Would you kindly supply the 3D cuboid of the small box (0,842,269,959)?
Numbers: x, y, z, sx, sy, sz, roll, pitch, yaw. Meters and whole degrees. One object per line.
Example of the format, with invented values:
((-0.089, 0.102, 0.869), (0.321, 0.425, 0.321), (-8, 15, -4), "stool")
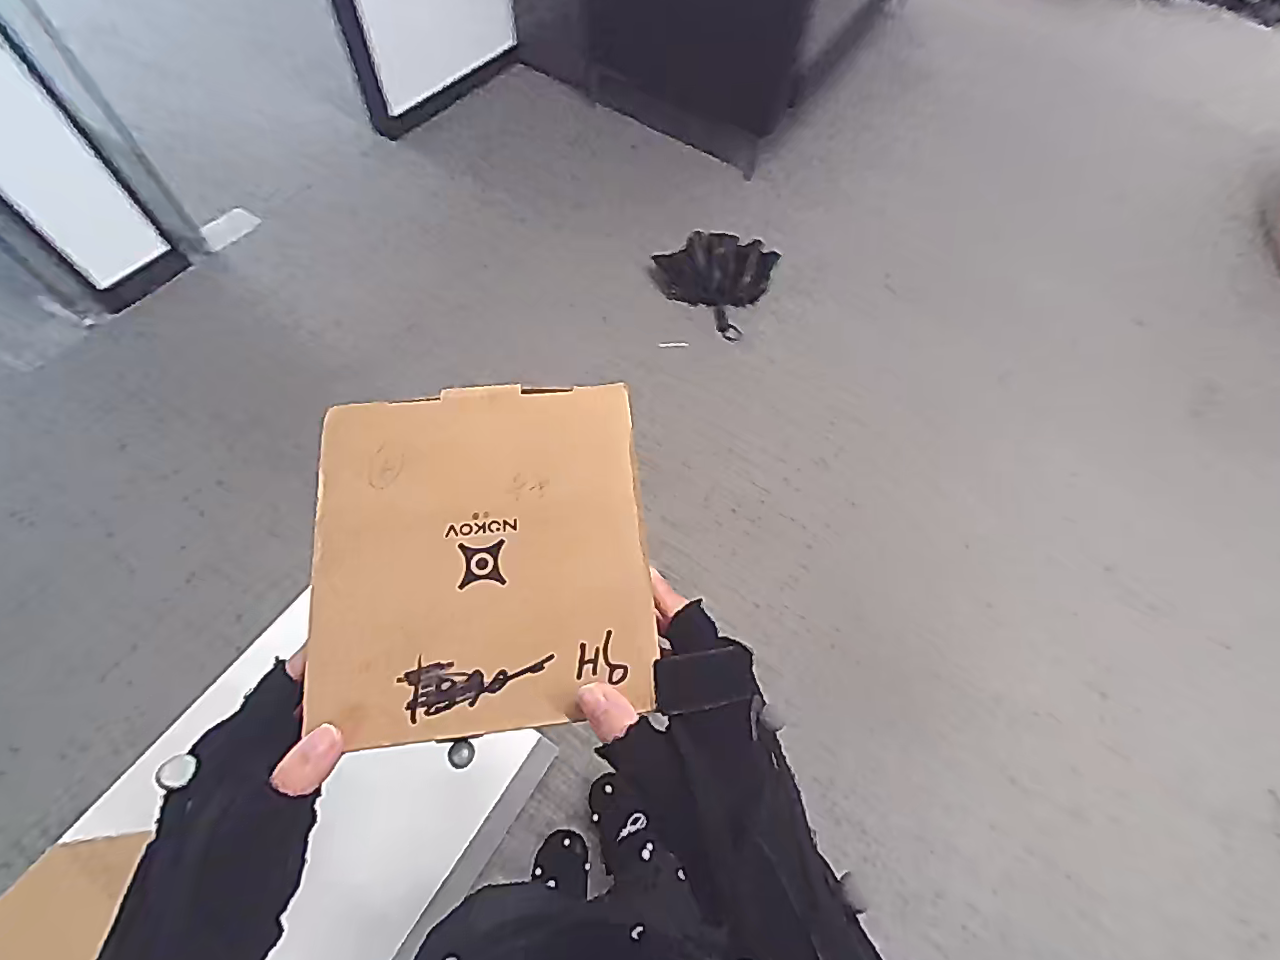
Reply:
((-0.510, 0.478, 0.514), (0.179, 0.176, 0.168), (31, 62, 13), "small box")
